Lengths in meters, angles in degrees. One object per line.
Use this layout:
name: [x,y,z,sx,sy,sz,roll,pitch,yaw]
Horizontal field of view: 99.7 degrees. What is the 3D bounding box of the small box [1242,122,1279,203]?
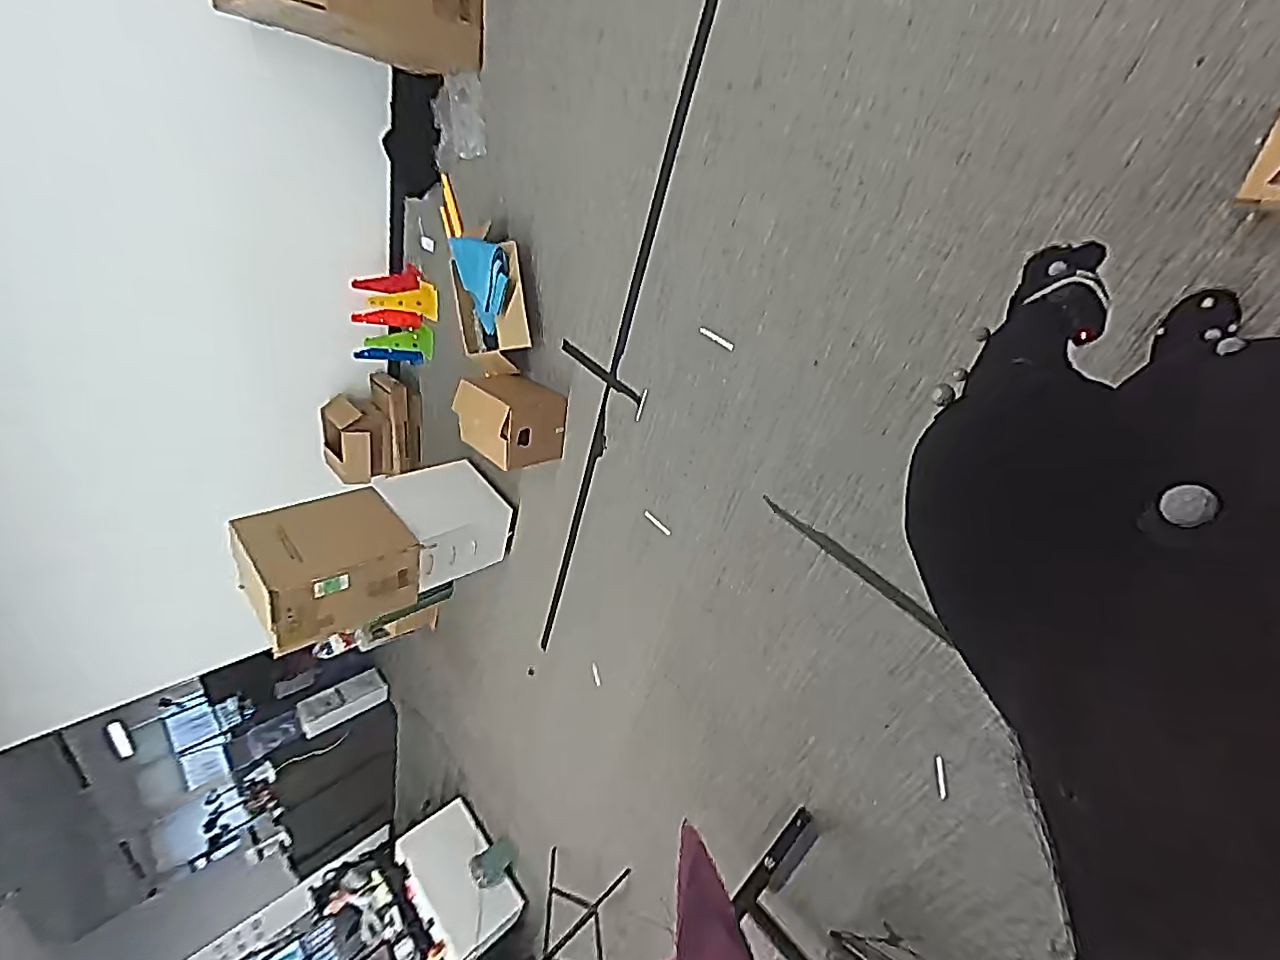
small box: [1.102,-0.532,0.843,0.168,0.176,0.179,29,122,37]
